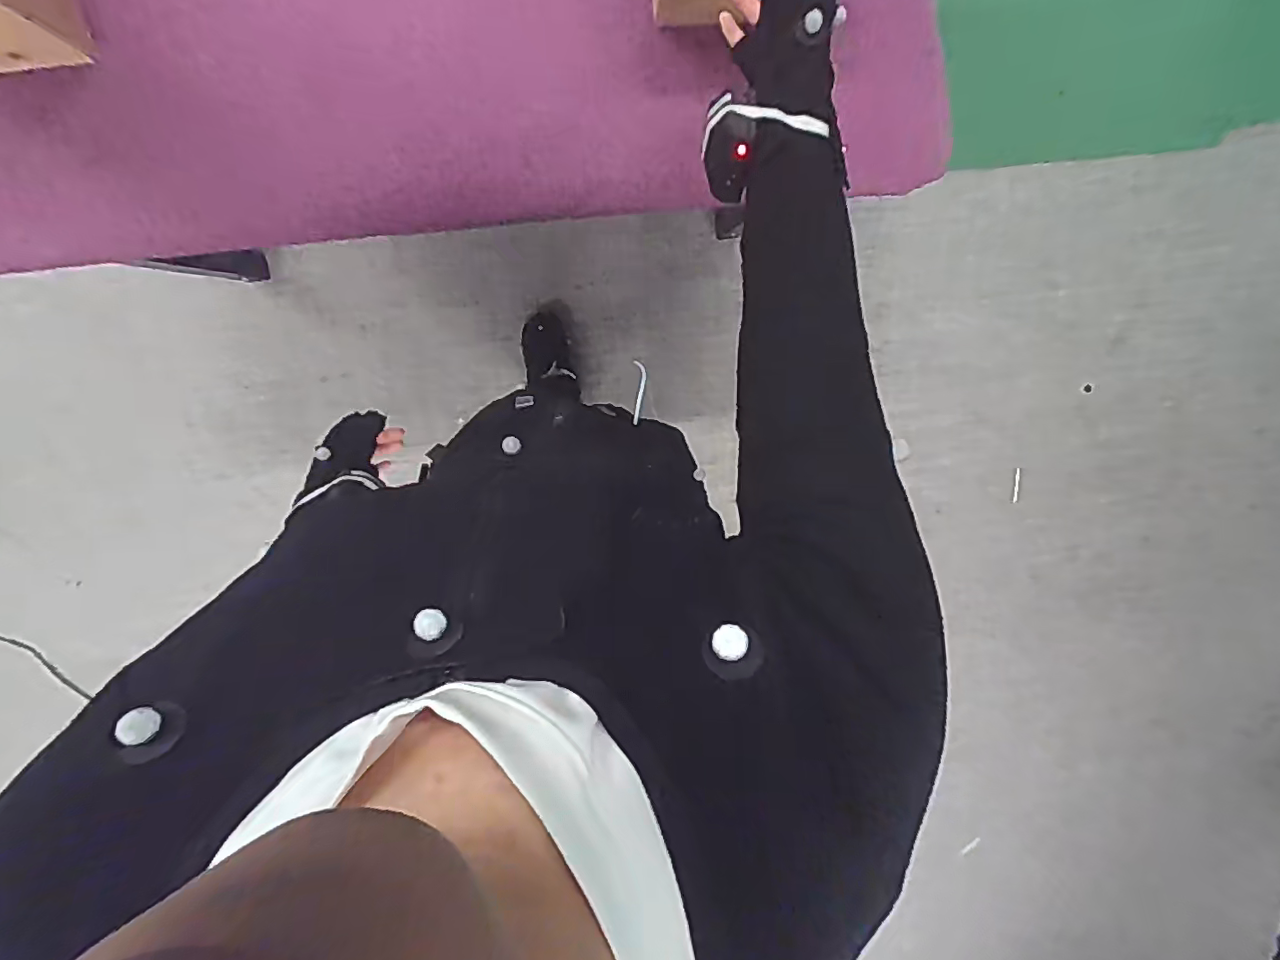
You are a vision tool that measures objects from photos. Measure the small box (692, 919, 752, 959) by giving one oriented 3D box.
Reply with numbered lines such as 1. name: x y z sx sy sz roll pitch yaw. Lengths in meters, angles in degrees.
1. small box: 0.265 1.548 1.729 0.168 0.176 0.179 -7 106 -5

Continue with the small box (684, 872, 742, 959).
1. small box: 0.252 1.522 1.892 0.168 0.176 0.179 -4 106 -6
